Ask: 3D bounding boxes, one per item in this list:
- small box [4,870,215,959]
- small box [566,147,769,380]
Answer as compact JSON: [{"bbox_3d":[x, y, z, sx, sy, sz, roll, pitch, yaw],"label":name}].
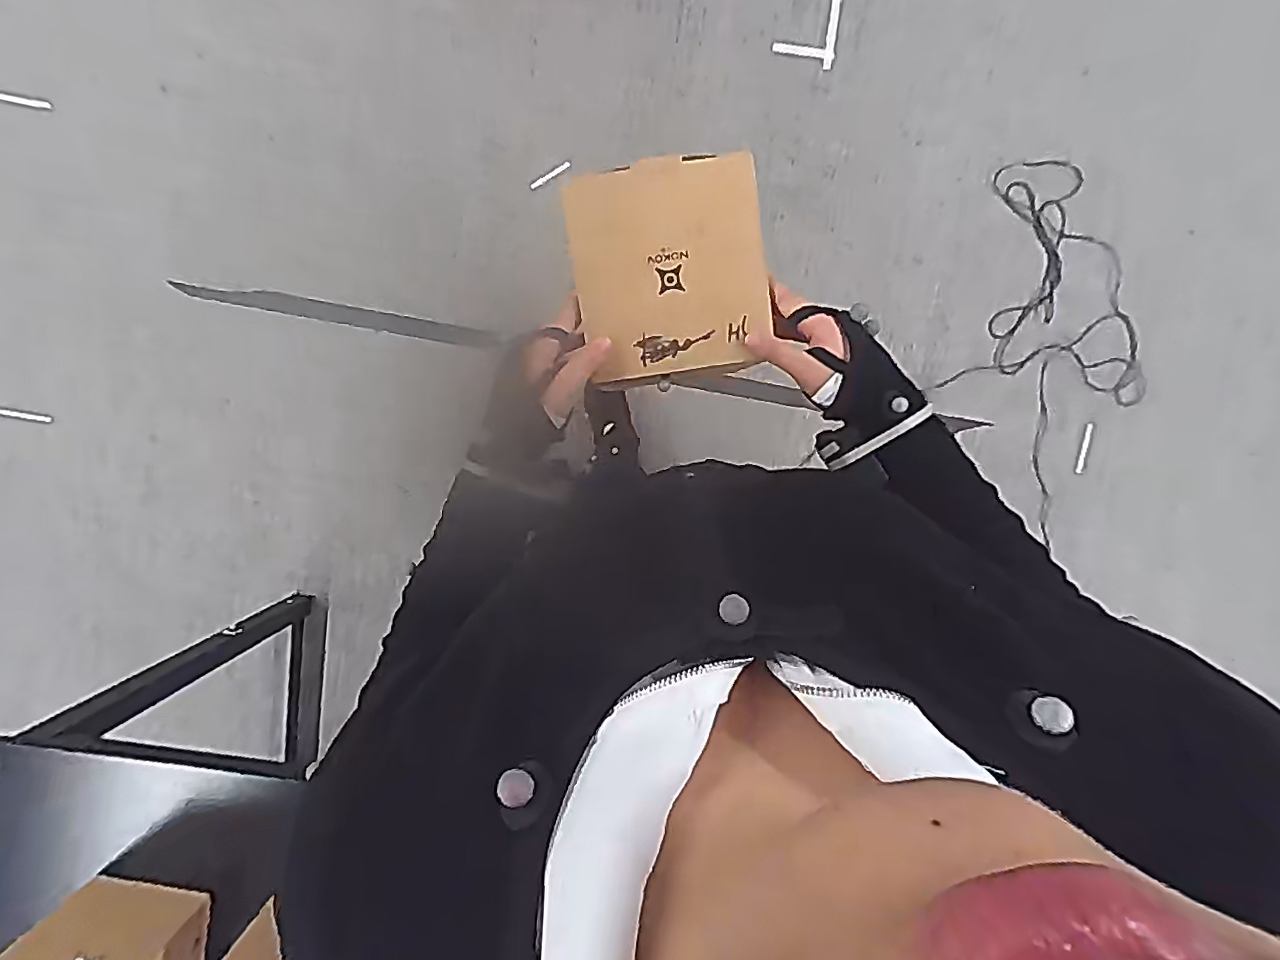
[{"bbox_3d":[-0.737,0.685,0.747,0.179,0.176,0.168,11,96,-1],"label":"small box"},{"bbox_3d":[0.025,-0.202,0.553,0.168,0.176,0.179,-7,98,1],"label":"small box"}]
